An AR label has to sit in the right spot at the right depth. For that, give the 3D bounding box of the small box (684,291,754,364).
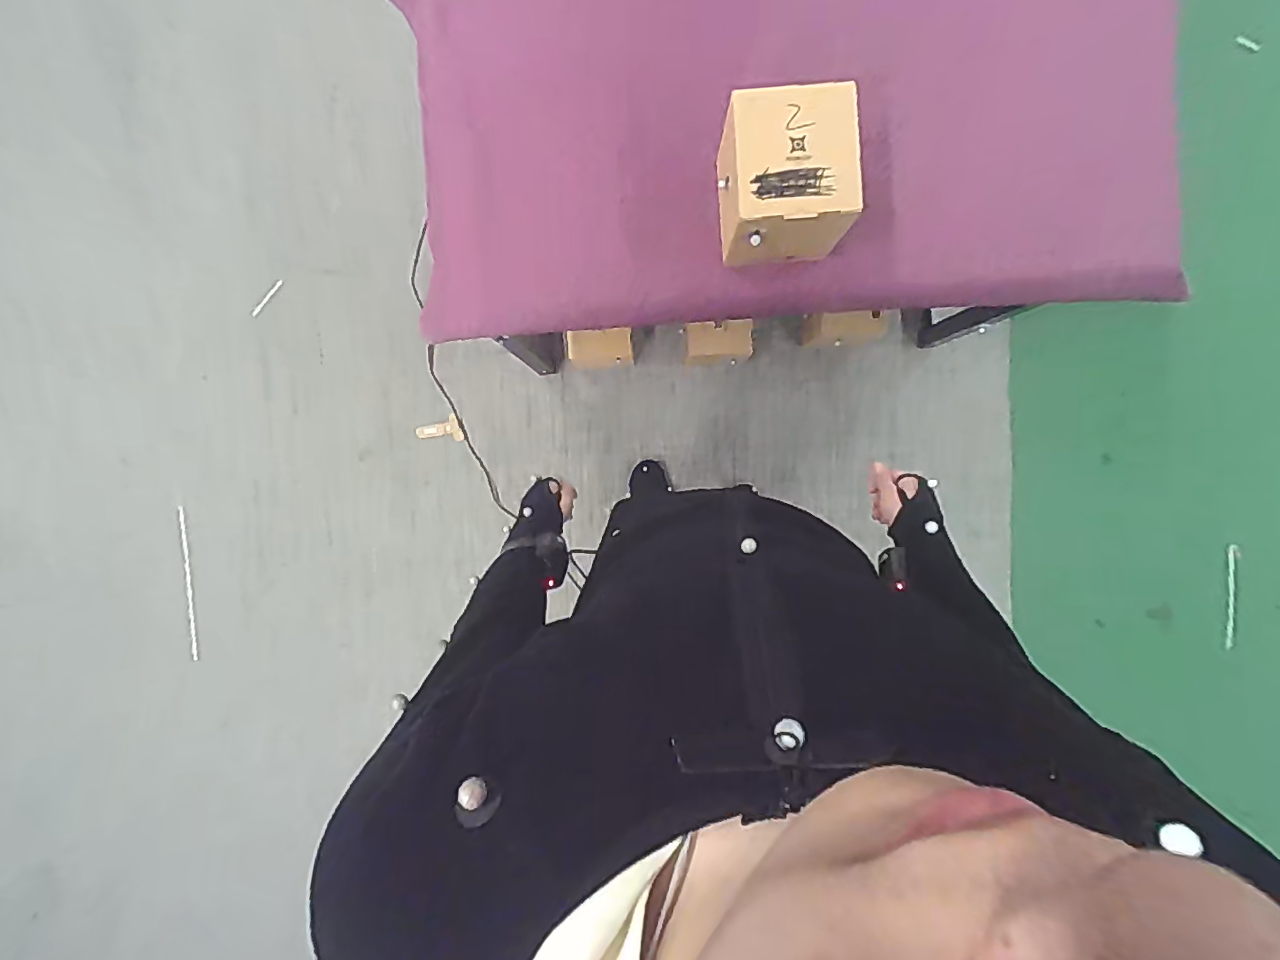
[{"bbox_3d":[0.217,-0.423,1.518,0.179,0.176,0.168,-2,92,2],"label":"small box"}]

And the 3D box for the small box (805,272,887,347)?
[{"bbox_3d":[0.566,-0.470,1.507,0.179,0.176,0.168,0,93,2],"label":"small box"}]

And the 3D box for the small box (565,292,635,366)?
[{"bbox_3d":[-0.109,-0.420,1.527,0.179,0.176,0.168,-3,92,1],"label":"small box"}]

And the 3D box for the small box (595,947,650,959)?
[{"bbox_3d":[-0.056,1.536,1.603,0.179,0.176,0.168,-3,93,1],"label":"small box"}]
